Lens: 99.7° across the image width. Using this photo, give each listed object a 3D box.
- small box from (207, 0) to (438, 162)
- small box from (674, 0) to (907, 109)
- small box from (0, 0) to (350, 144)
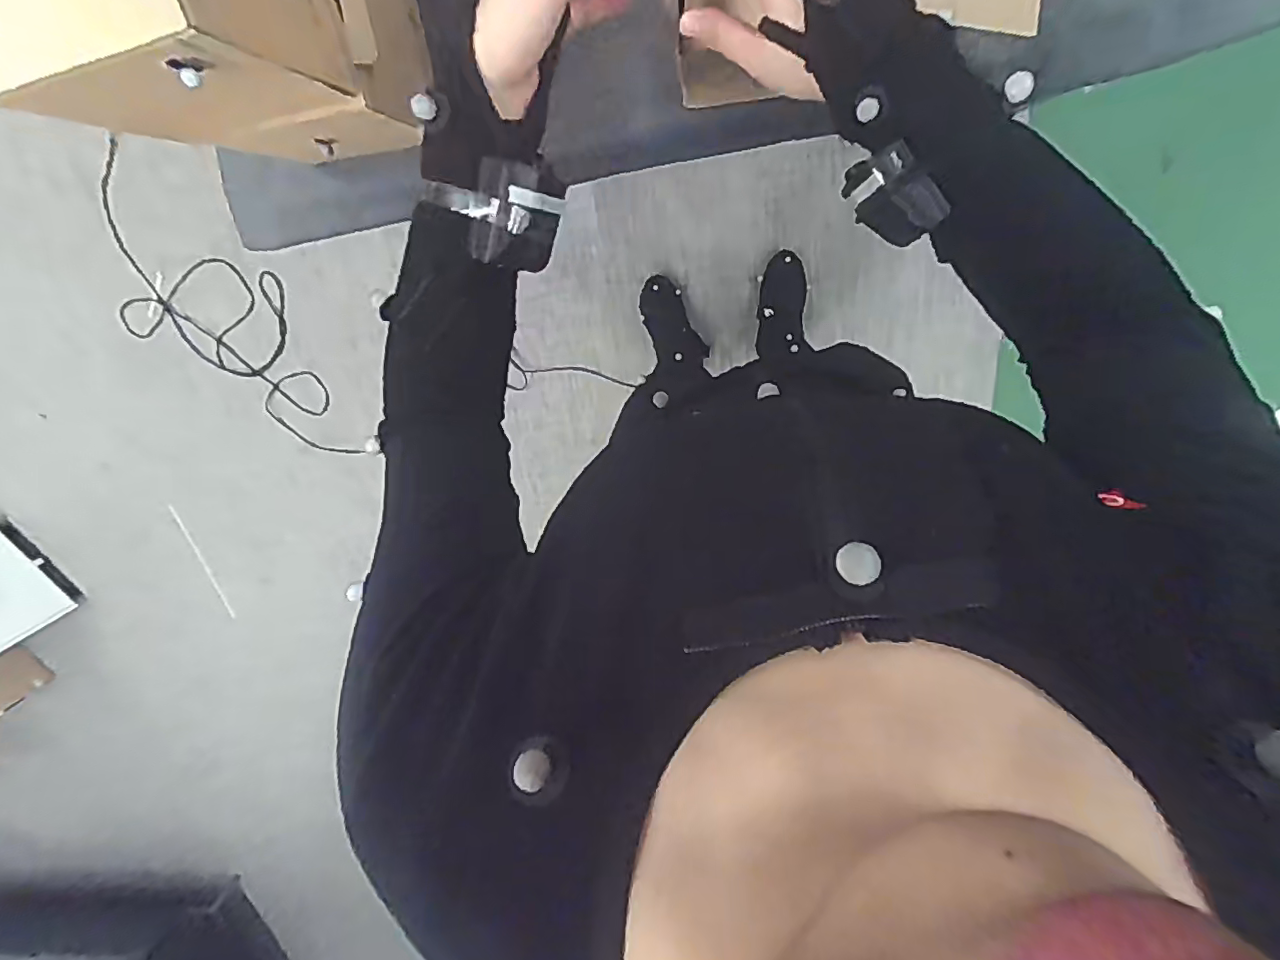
[{"bbox_3d":[-0.321,-0.424,0.530,0.179,0.176,0.168,-4,113,9],"label":"small box"},{"bbox_3d":[0.120,-0.445,0.468,0.179,0.176,0.168,-2,112,8],"label":"small box"},{"bbox_3d":[-0.354,-0.360,0.383,0.179,0.176,0.168,-9,112,10],"label":"small box"}]
